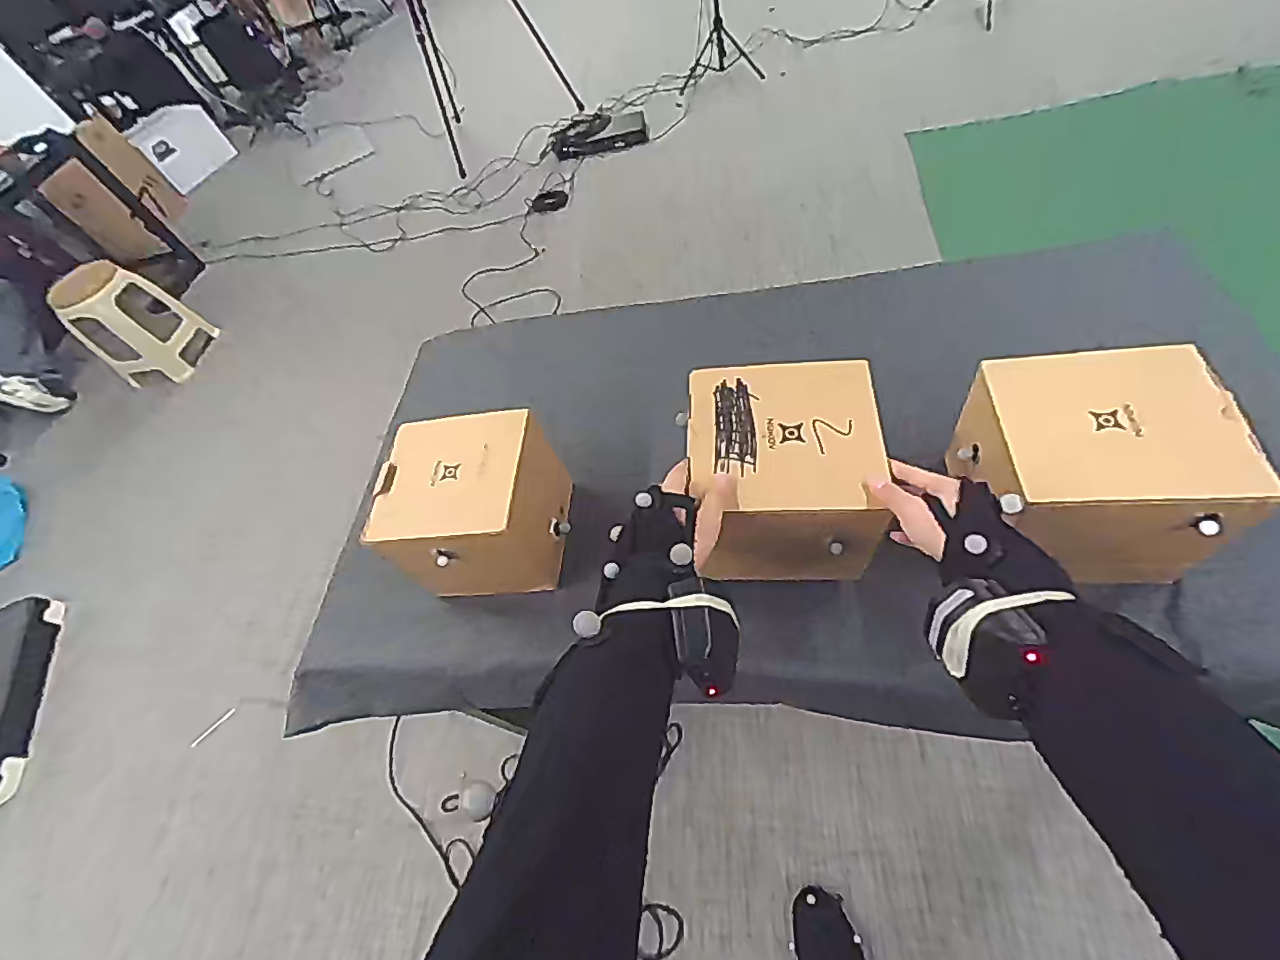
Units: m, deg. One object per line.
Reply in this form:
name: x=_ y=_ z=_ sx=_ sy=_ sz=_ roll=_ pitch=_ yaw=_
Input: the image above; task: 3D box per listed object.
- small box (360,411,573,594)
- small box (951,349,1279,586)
small box: x=-0.200 y=0.036 z=0.676 sx=0.179 sy=0.176 sz=0.168 roll=-5 pitch=57 yaw=11
small box: x=0.425 y=-0.003 z=0.530 sx=0.179 sy=0.176 sz=0.168 roll=-3 pitch=56 yaw=14
